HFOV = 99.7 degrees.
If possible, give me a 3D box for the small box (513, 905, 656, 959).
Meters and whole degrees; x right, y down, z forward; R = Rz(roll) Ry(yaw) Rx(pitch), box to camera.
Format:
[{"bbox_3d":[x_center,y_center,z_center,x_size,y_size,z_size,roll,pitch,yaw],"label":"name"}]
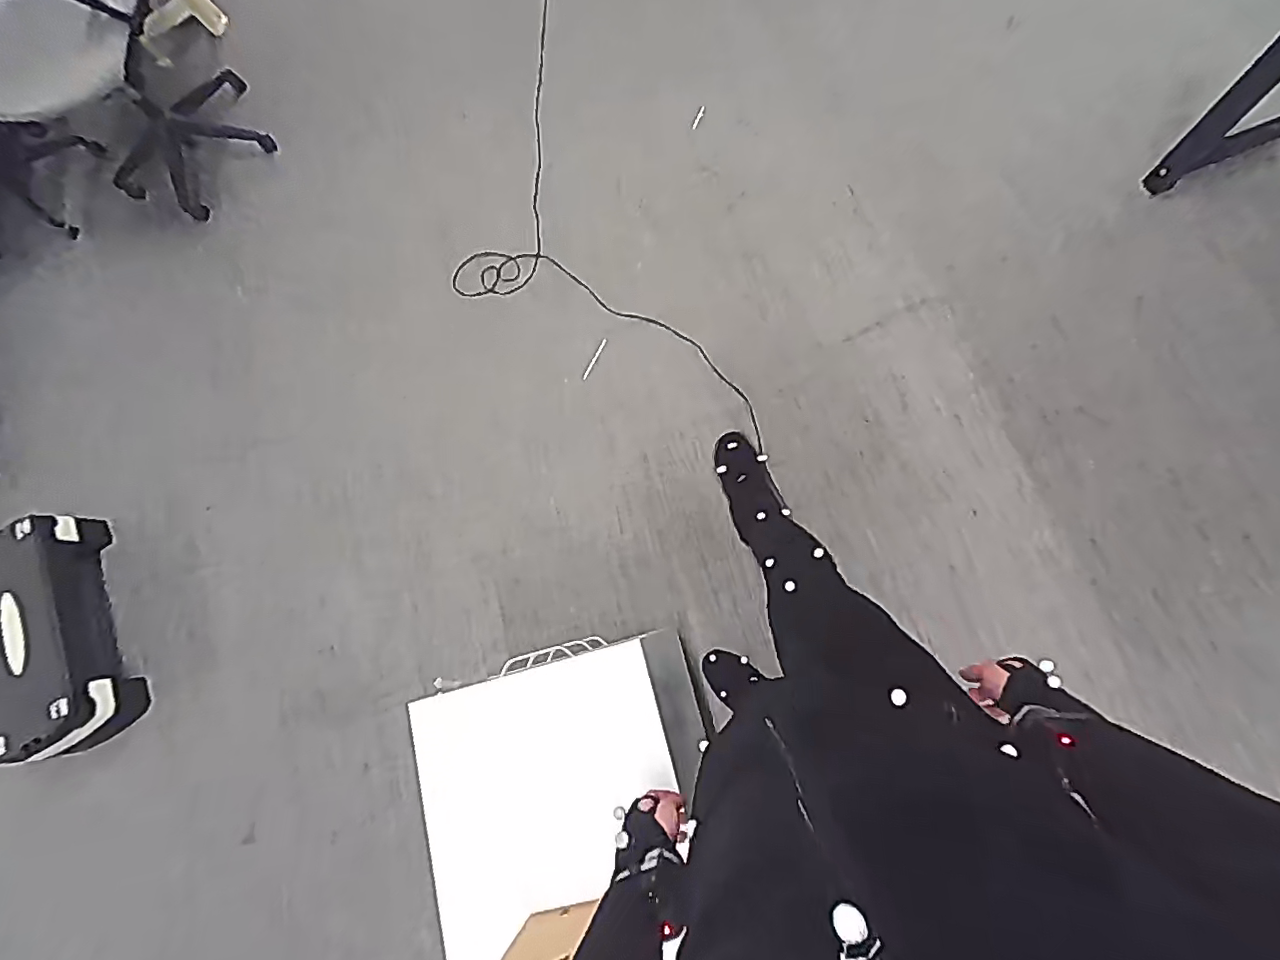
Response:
[{"bbox_3d":[-0.069,0.667,0.668,0.168,0.176,0.179,-17,75,6],"label":"small box"}]
